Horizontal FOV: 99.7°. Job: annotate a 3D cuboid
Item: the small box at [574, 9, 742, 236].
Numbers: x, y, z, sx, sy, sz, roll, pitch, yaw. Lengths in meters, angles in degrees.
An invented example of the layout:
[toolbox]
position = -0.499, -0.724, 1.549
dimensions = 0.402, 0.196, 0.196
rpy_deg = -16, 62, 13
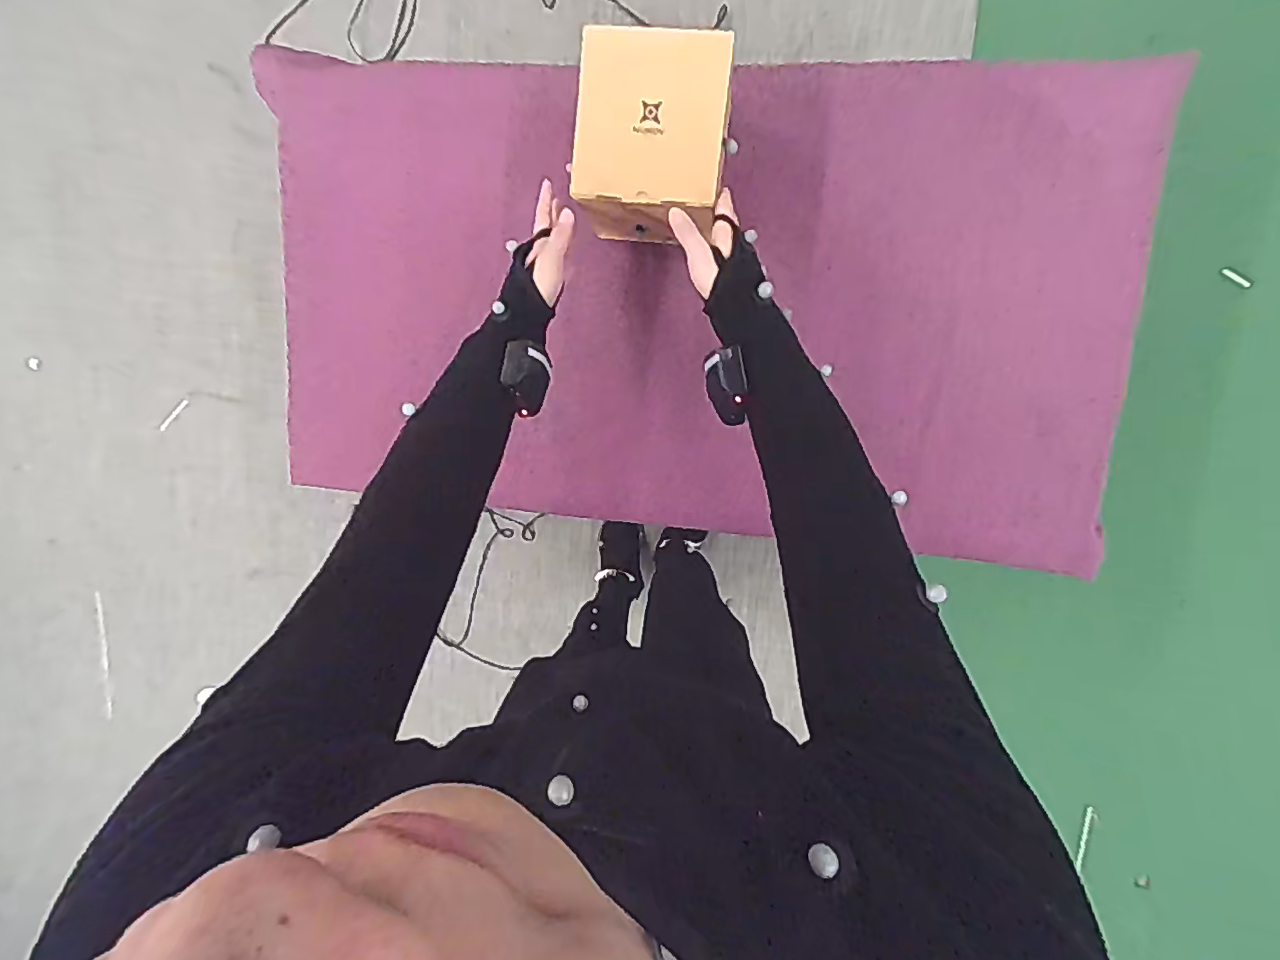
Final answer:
[small box]
position = 0.024, -0.416, 0.657
dimensions = 0.168, 0.176, 0.179
rpy_deg = 7, 102, 5
